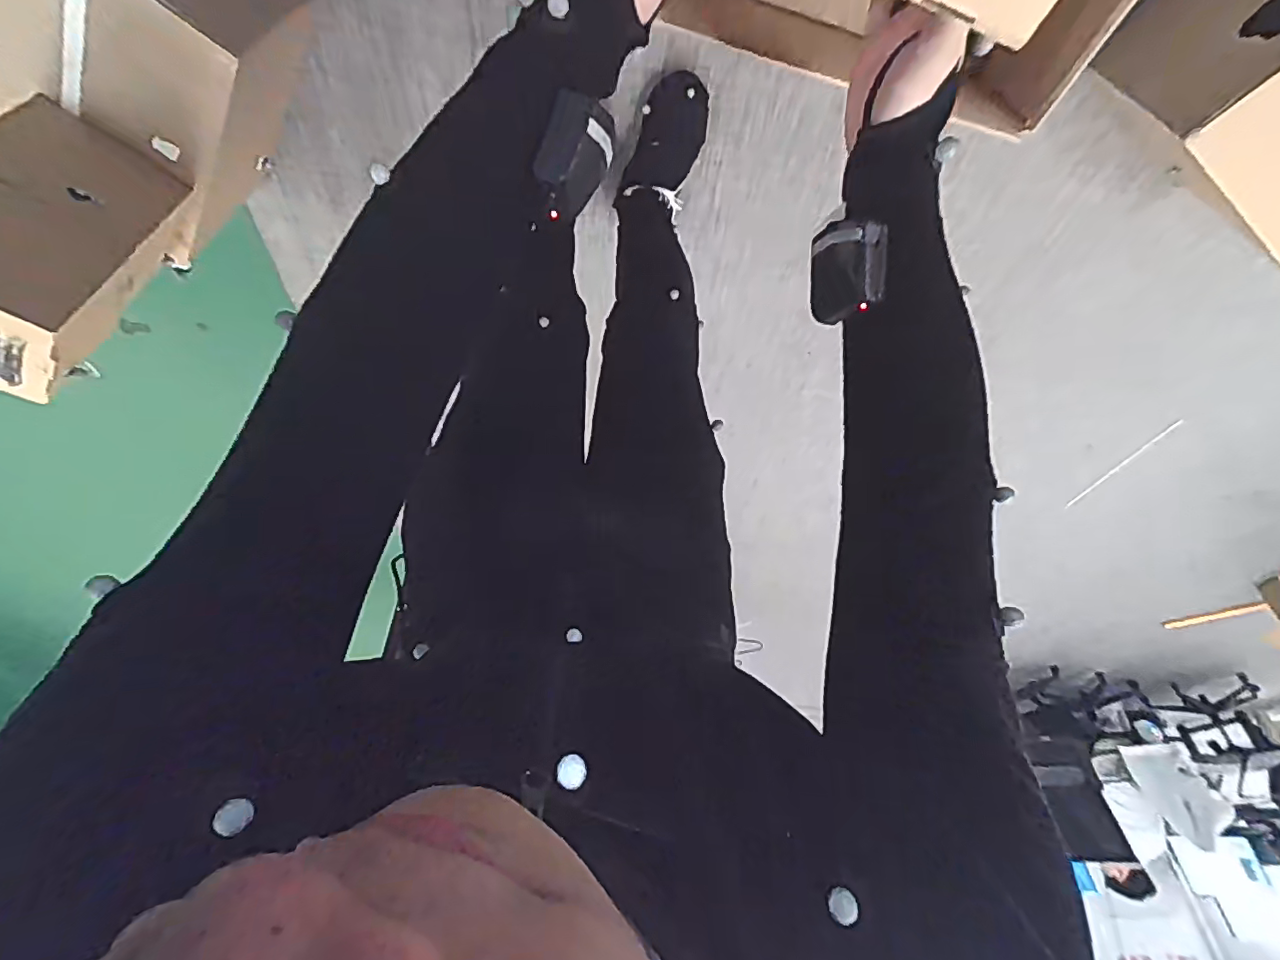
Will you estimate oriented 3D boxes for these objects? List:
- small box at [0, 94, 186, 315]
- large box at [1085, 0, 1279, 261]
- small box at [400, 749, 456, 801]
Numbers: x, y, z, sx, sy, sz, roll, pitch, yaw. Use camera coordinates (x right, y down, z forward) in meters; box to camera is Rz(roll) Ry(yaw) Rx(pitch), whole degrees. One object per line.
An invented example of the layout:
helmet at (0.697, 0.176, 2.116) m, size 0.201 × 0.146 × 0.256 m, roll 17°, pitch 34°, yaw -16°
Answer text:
small box at (-0.774, -0.372, 0.740) m, size 0.168 × 0.176 × 0.179 m, roll -30°, pitch 135°, yaw 34°
large box at (0.997, -0.614, 0.809) m, size 0.408 × 0.320 × 0.320 m, roll 20°, pitch 139°, yaw -24°
small box at (-0.852, 1.195, 2.190) m, size 0.168 × 0.176 × 0.179 m, roll 1°, pitch 144°, yaw -6°
